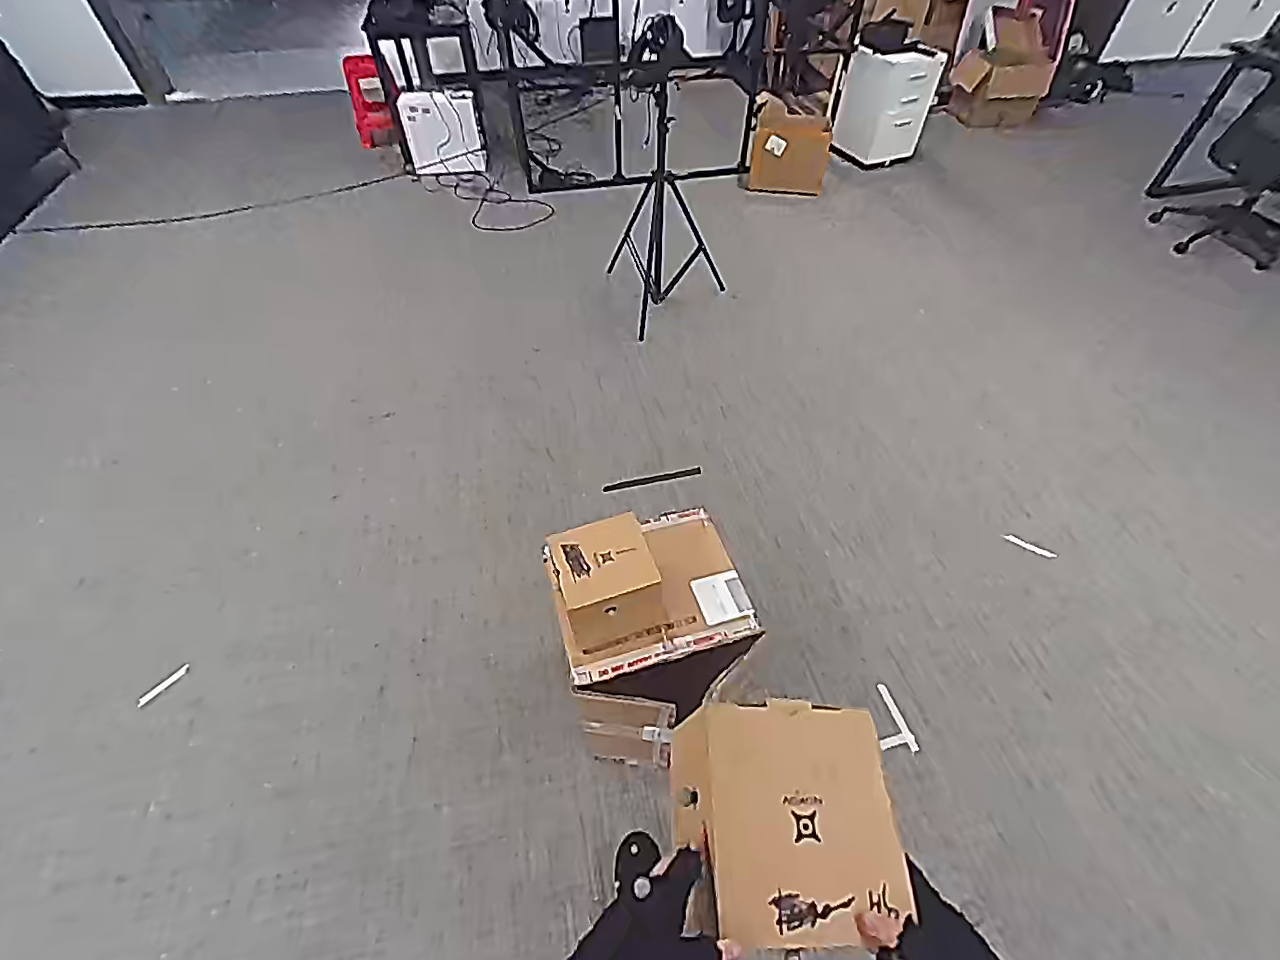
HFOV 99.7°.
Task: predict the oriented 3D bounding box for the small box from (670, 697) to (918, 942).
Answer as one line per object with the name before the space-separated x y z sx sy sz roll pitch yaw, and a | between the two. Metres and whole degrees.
small box | 0.125 0.324 0.524 0.168 0.176 0.179 5 56 -7

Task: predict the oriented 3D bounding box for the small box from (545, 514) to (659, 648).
small box | -0.069 0.197 1.037 0.179 0.176 0.168 -15 50 -11
